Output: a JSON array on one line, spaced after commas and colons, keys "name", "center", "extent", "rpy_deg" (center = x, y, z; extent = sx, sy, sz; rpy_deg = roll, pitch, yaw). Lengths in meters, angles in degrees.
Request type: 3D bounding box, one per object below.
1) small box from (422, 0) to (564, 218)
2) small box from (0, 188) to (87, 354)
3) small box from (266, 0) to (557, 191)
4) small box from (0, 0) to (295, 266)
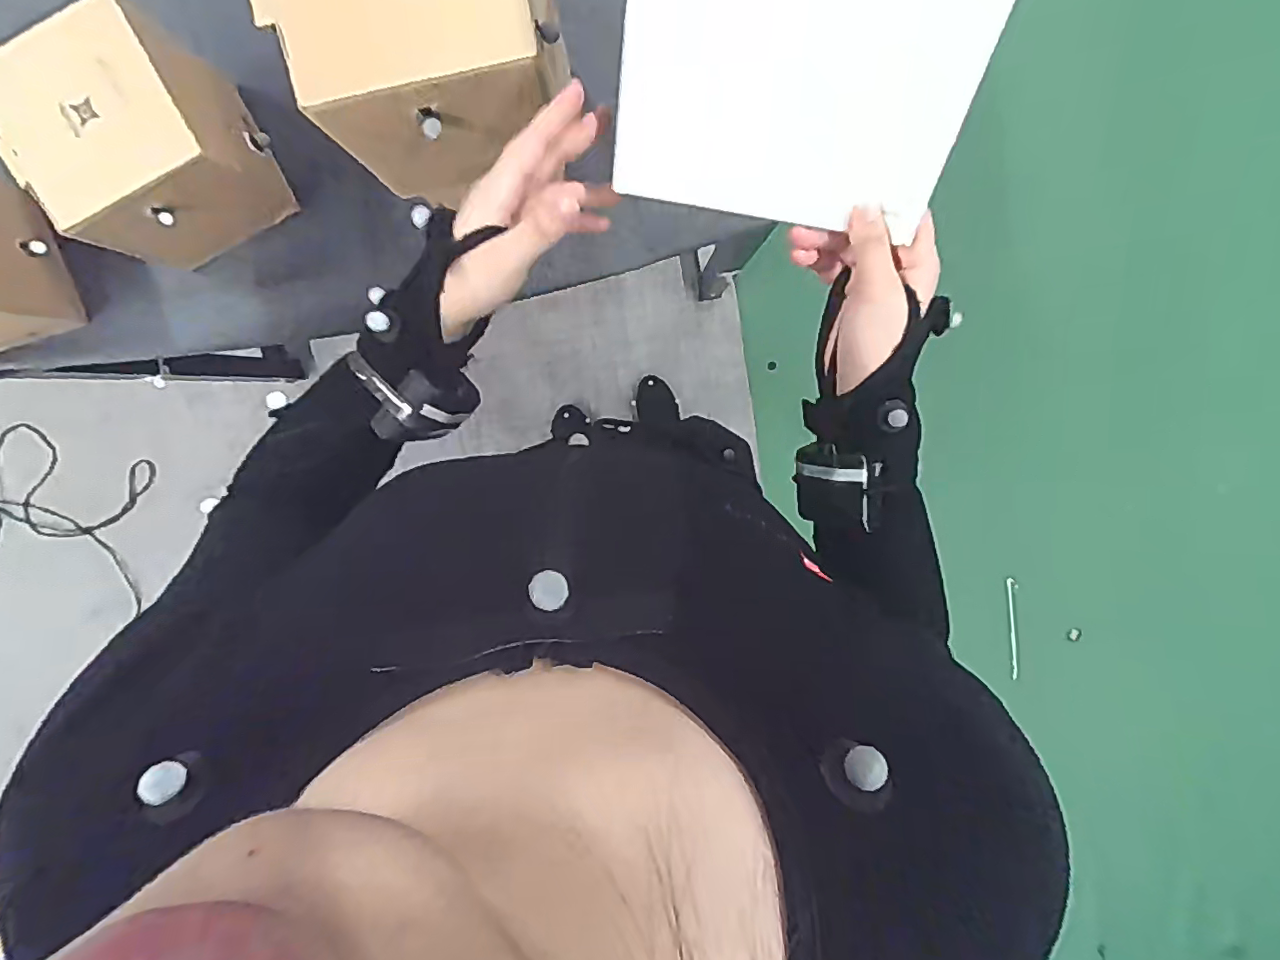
[{"name": "small box", "center": [-0.180, -0.417, 0.603], "extent": [0.168, 0.176, 0.179], "rpy_deg": [5, 99, 0]}, {"name": "small box", "center": [-0.829, -0.252, 0.630], "extent": [0.168, 0.176, 0.179], "rpy_deg": [-16, 99, 2]}, {"name": "small box", "center": [-0.173, -0.367, 0.446], "extent": [0.179, 0.176, 0.168], "rpy_deg": [-11, 99, 3]}, {"name": "small box", "center": [-0.549, -0.369, 0.613], "extent": [0.179, 0.176, 0.168], "rpy_deg": [-26, 99, 3]}]
